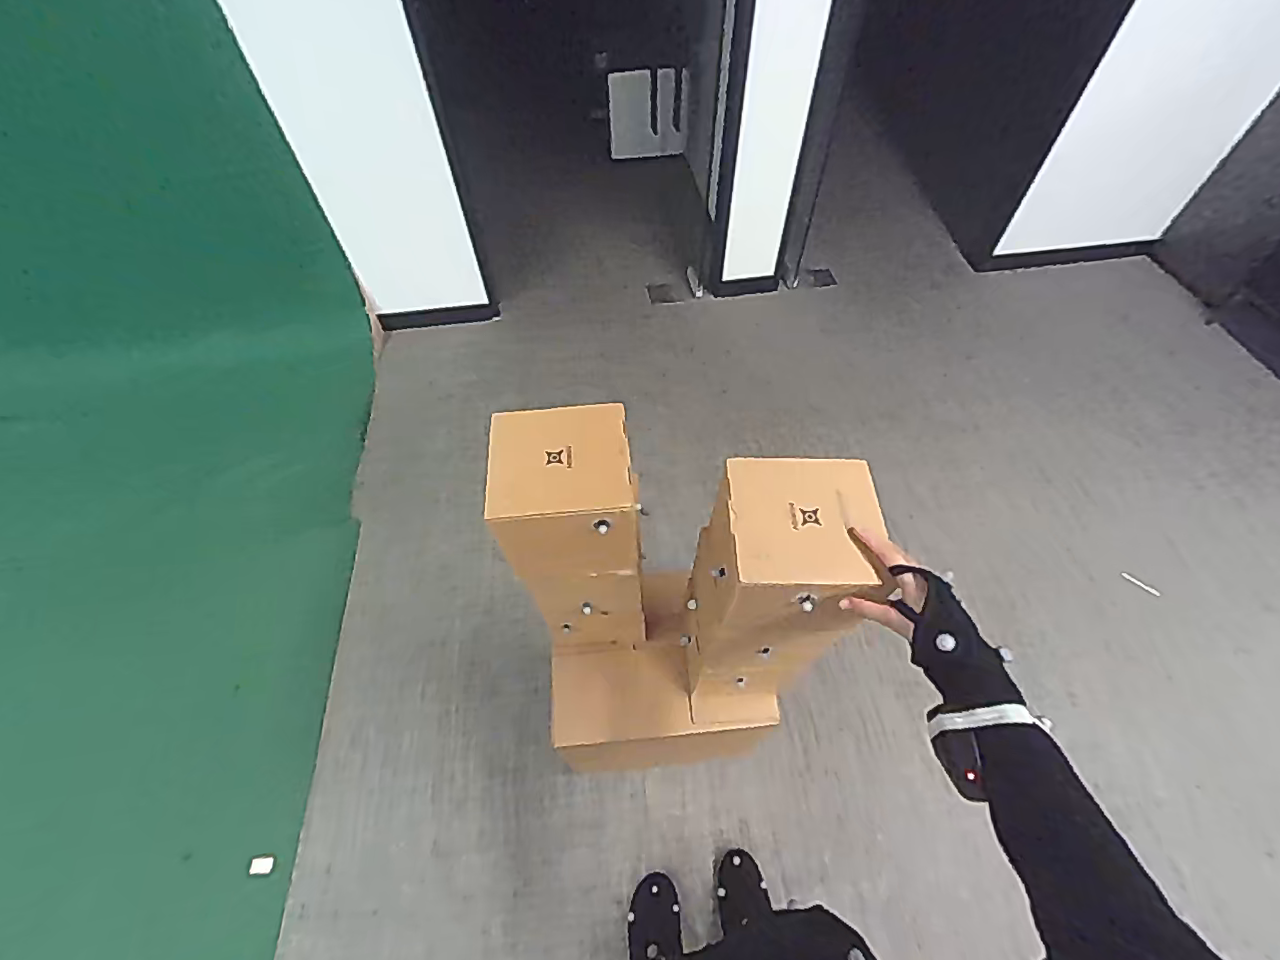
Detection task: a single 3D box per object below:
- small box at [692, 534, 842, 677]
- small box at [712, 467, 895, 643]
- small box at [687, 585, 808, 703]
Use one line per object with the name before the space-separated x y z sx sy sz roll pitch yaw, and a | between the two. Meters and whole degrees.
small box | 0.177 0.190 0.814 0.179 0.176 0.168 -2 55 0
small box | 0.185 0.099 0.680 0.179 0.176 0.168 1 56 0
small box | 0.176 0.286 0.947 0.179 0.176 0.168 -3 57 0
